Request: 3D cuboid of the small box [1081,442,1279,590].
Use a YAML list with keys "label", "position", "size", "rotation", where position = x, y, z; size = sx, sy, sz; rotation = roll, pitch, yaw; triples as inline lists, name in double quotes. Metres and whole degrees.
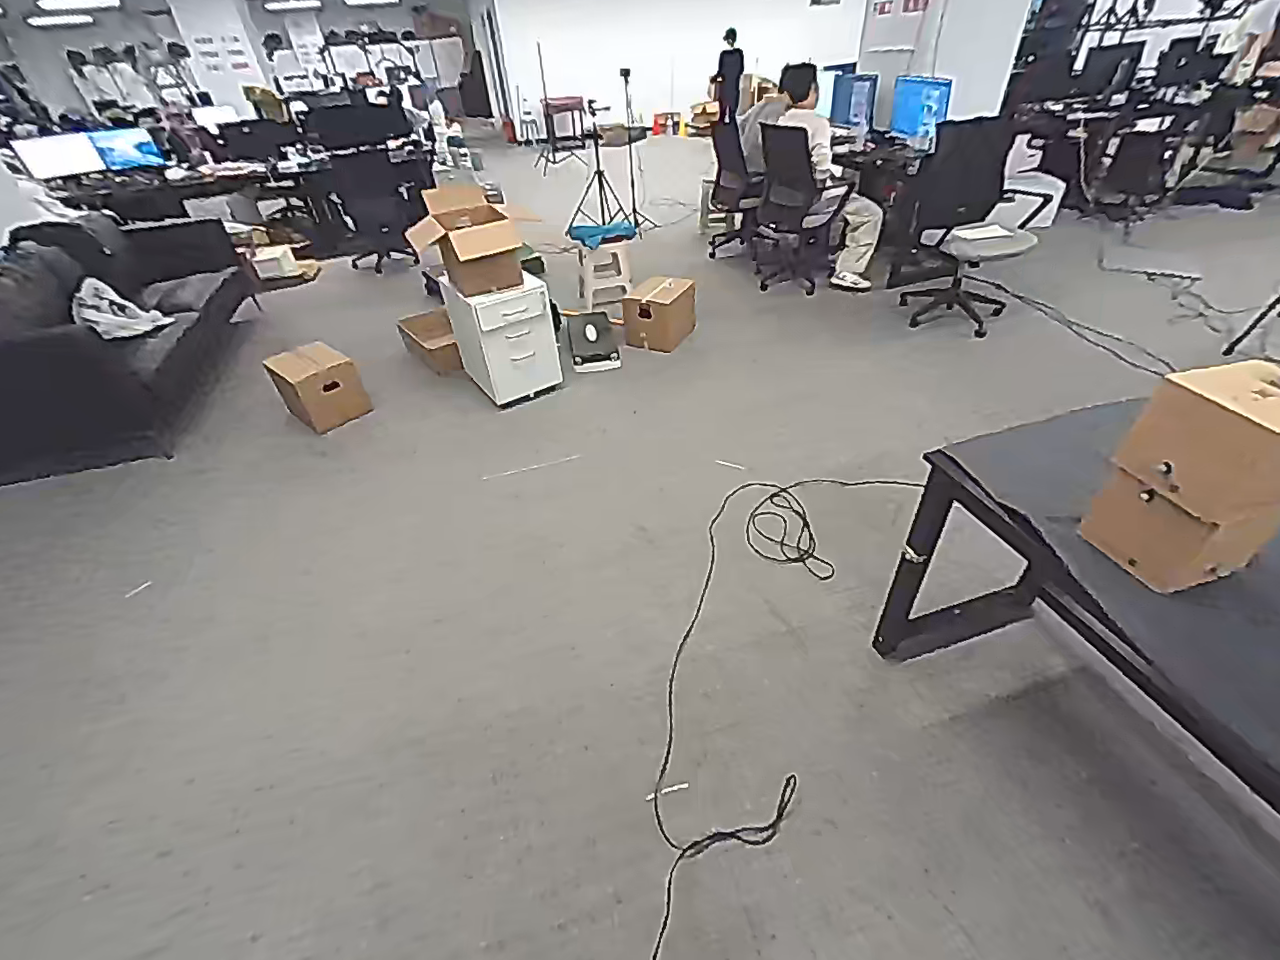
- label: "small box"
  position: [0.923, 0.061, 0.928]
  size: [0.179, 0.176, 0.168]
  rotation: [-12, 39, -11]
